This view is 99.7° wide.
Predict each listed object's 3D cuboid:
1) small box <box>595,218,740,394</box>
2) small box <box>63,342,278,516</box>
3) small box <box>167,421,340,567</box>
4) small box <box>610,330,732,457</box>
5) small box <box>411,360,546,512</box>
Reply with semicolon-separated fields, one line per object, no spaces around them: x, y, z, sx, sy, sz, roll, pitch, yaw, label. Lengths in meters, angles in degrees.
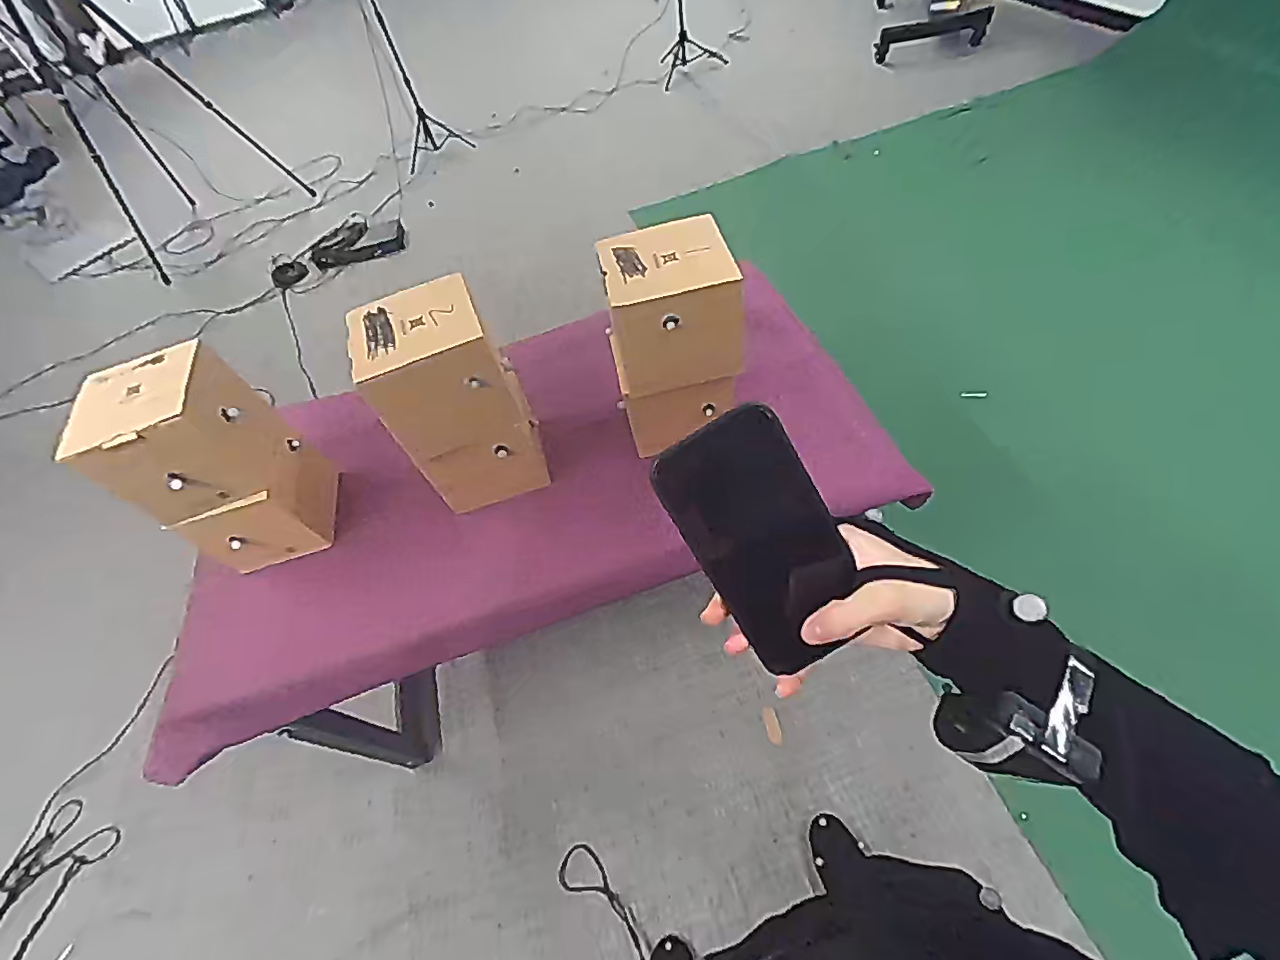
0.043;-0.249;0.797;0.179;0.176;0.168;-13;54;1;small box
-0.676;-0.066;0.806;0.168;0.176;0.179;-21;55;-5;small box
-0.648;0.033;0.934;0.168;0.176;0.179;-17;54;-2;small box
0.057;-0.165;0.938;0.179;0.176;0.168;-13;54;2;small box
-0.272;-0.072;0.934;0.179;0.176;0.168;-18;54;-2;small box
